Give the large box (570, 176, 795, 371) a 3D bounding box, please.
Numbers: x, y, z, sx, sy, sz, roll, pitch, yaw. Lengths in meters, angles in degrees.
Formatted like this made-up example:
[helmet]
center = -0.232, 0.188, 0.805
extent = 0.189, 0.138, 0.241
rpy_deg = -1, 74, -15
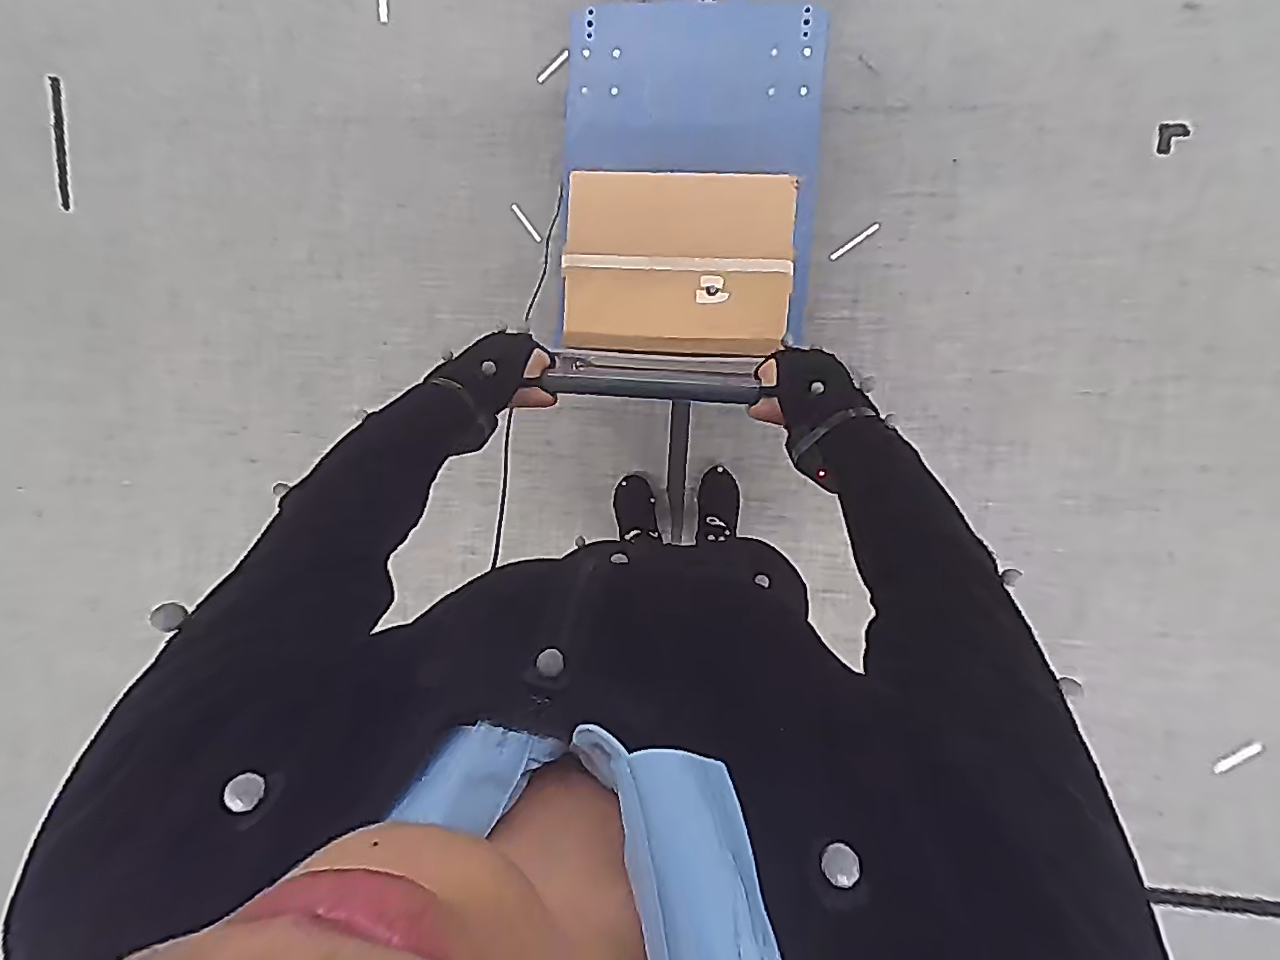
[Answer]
[large box]
center = 0.081, -0.405, 1.133
extent = 0.408, 0.320, 0.320
rpy_deg = 4, 96, 4
